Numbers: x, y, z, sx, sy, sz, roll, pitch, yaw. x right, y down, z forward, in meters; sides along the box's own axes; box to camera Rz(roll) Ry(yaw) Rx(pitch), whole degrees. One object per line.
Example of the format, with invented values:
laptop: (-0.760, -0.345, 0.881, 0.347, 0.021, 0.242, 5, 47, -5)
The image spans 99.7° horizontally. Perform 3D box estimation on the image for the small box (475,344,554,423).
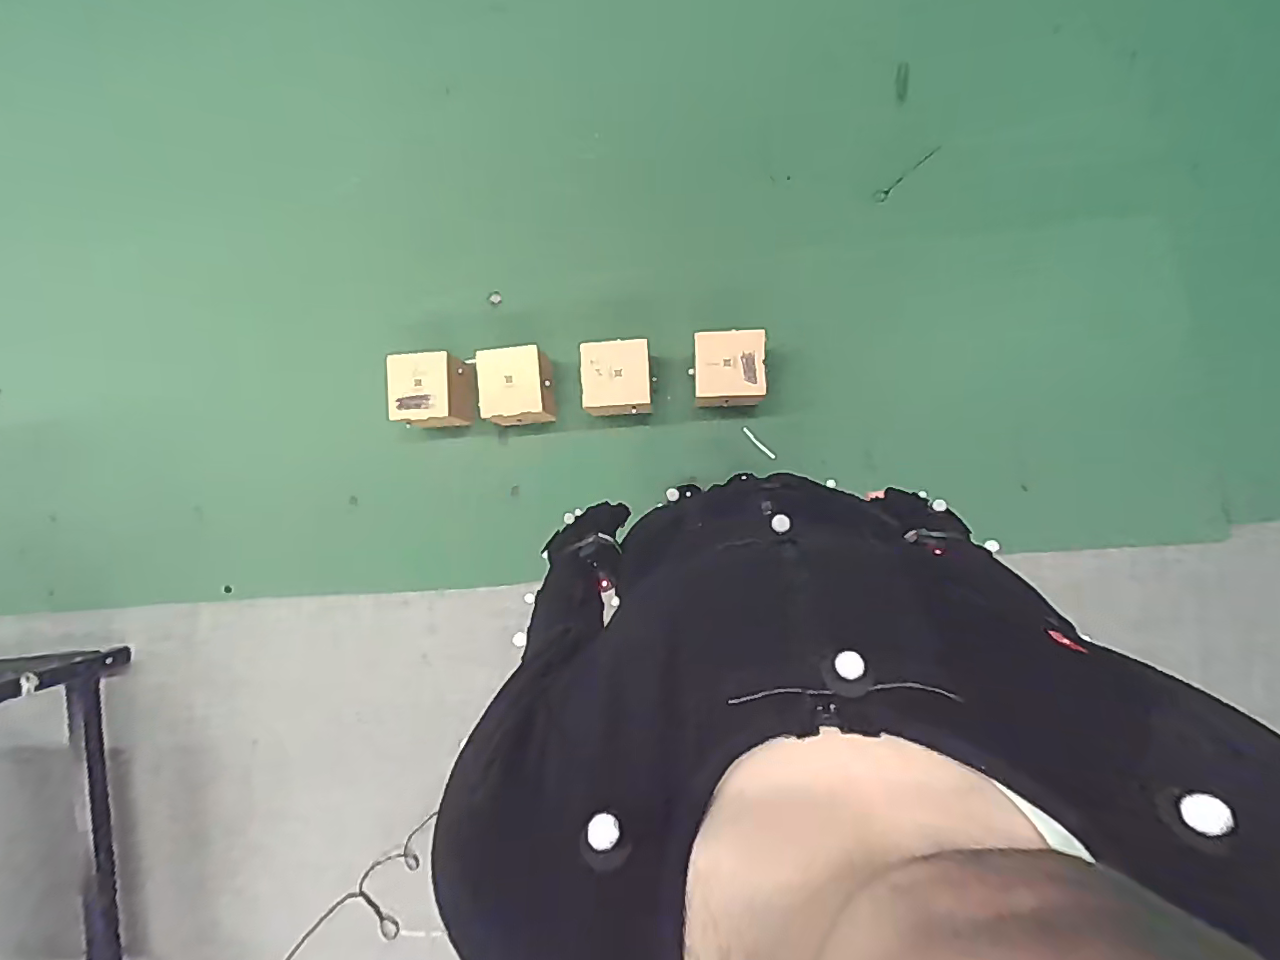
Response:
small box: (-0.335, -0.255, 1.467, 0.168, 0.176, 0.179, -5, 89, 4)

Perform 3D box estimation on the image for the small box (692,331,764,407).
small box: (0.226, -0.287, 1.421, 0.179, 0.176, 0.168, -1, 89, 5)

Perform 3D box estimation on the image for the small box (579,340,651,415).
small box: (-0.061, -0.269, 1.443, 0.179, 0.176, 0.168, -2, 89, 4)
